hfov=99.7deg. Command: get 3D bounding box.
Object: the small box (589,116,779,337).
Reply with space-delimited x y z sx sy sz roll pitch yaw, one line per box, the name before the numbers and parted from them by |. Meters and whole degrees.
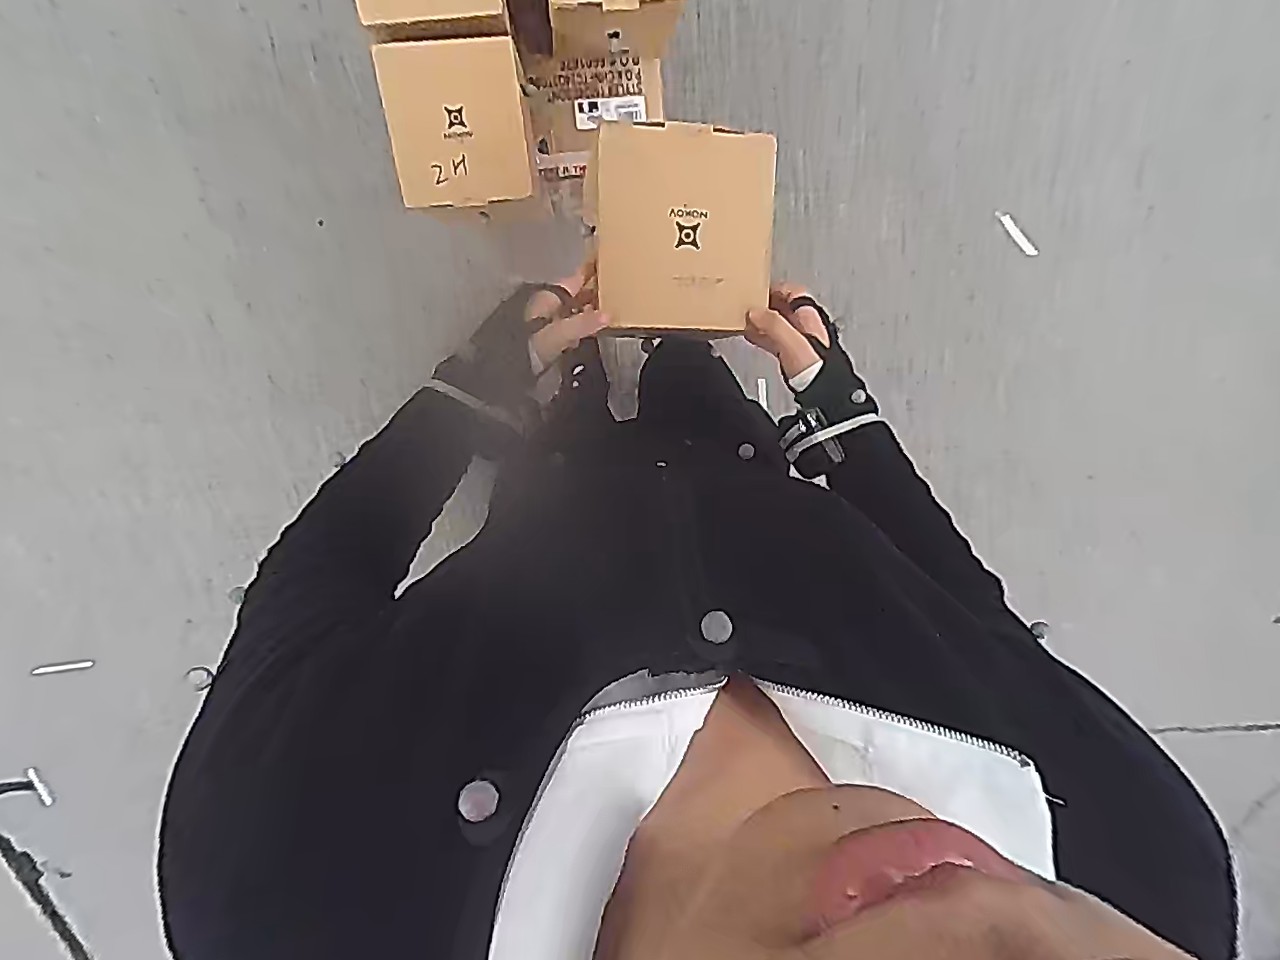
small box | 0.034 -0.248 0.575 0.168 0.176 0.179 -2 102 -9
